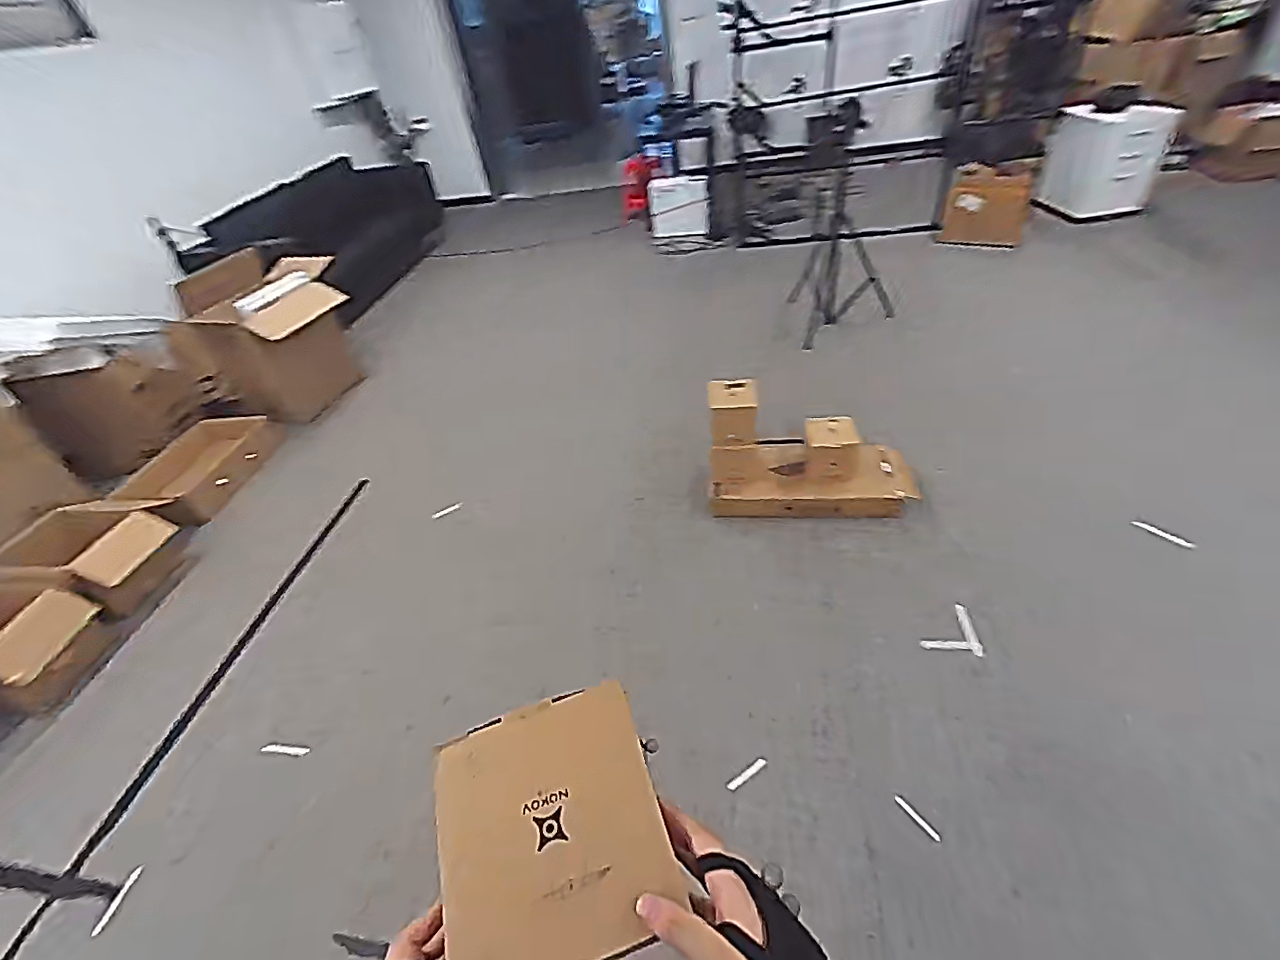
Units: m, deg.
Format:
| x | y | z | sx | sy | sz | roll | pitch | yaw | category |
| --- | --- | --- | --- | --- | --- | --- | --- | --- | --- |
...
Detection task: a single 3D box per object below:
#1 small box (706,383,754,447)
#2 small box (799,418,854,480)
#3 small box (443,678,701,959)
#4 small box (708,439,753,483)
| x | y | z | sx | sy | sz | roll | pitch | yaw | category |
| --- | --- | --- | --- | --- | --- | --- | --- | --- | --- |
| 0.328 | -0.239 | 1.989 | 0.168 | 0.176 | 0.179 | -2 | 41 | 9 | small box |
| 0.692 | -0.111 | 2.023 | 0.168 | 0.176 | 0.179 | -3 | 41 | 8 | small box |
| -0.055 | 0.305 | 0.463 | 0.168 | 0.176 | 0.179 | -17 | 51 | -7 | small box |
| 0.349 | -0.105 | 2.083 | 0.168 | 0.176 | 0.179 | -1 | 41 | 10 | small box |
